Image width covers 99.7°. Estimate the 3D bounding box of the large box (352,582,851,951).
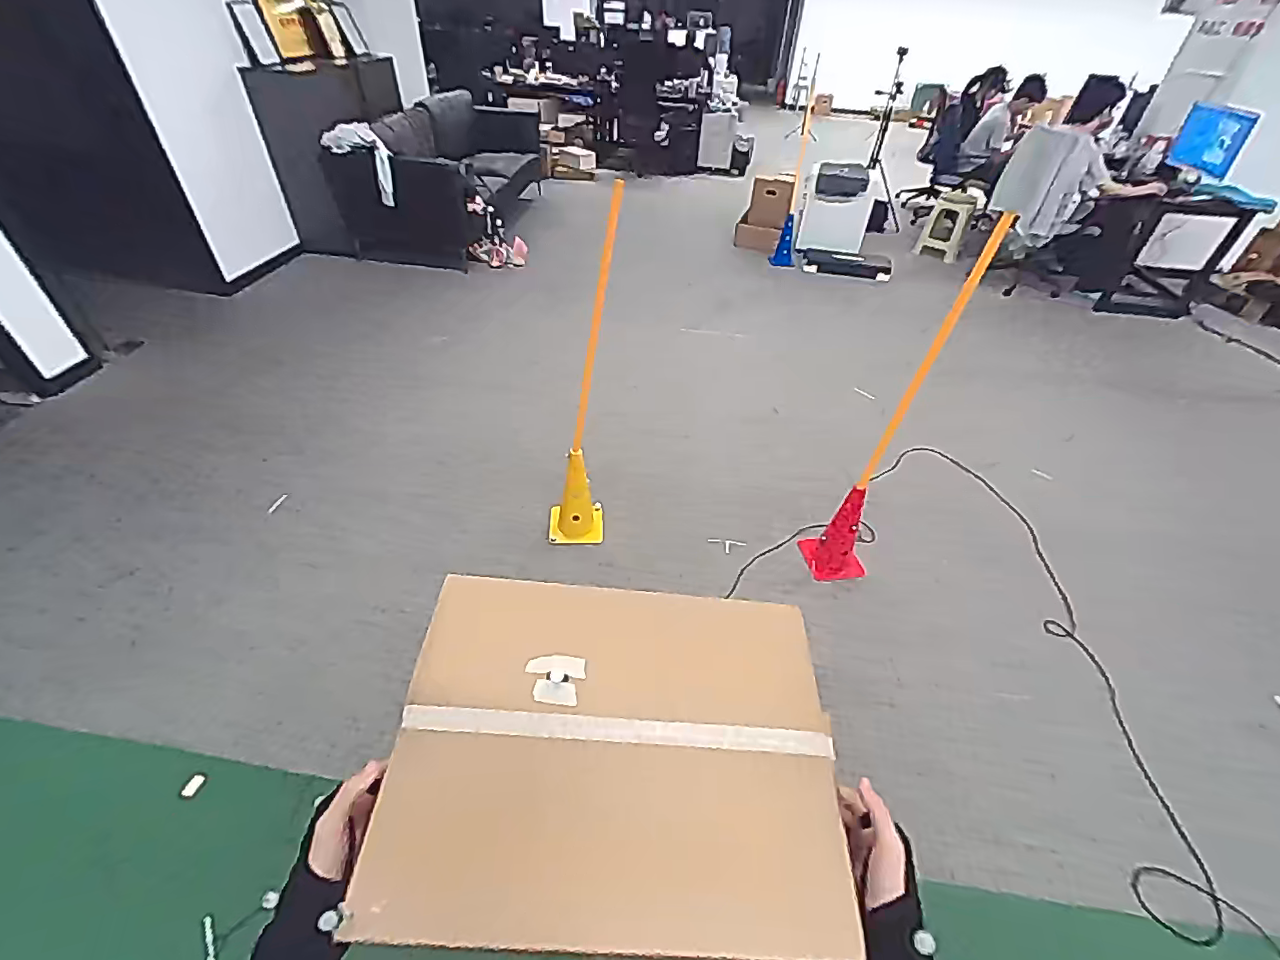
[{"bbox_3d":[-0.034,0.341,0.634,0.408,0.320,0.320,5,48,-3],"label":"large box"}]
